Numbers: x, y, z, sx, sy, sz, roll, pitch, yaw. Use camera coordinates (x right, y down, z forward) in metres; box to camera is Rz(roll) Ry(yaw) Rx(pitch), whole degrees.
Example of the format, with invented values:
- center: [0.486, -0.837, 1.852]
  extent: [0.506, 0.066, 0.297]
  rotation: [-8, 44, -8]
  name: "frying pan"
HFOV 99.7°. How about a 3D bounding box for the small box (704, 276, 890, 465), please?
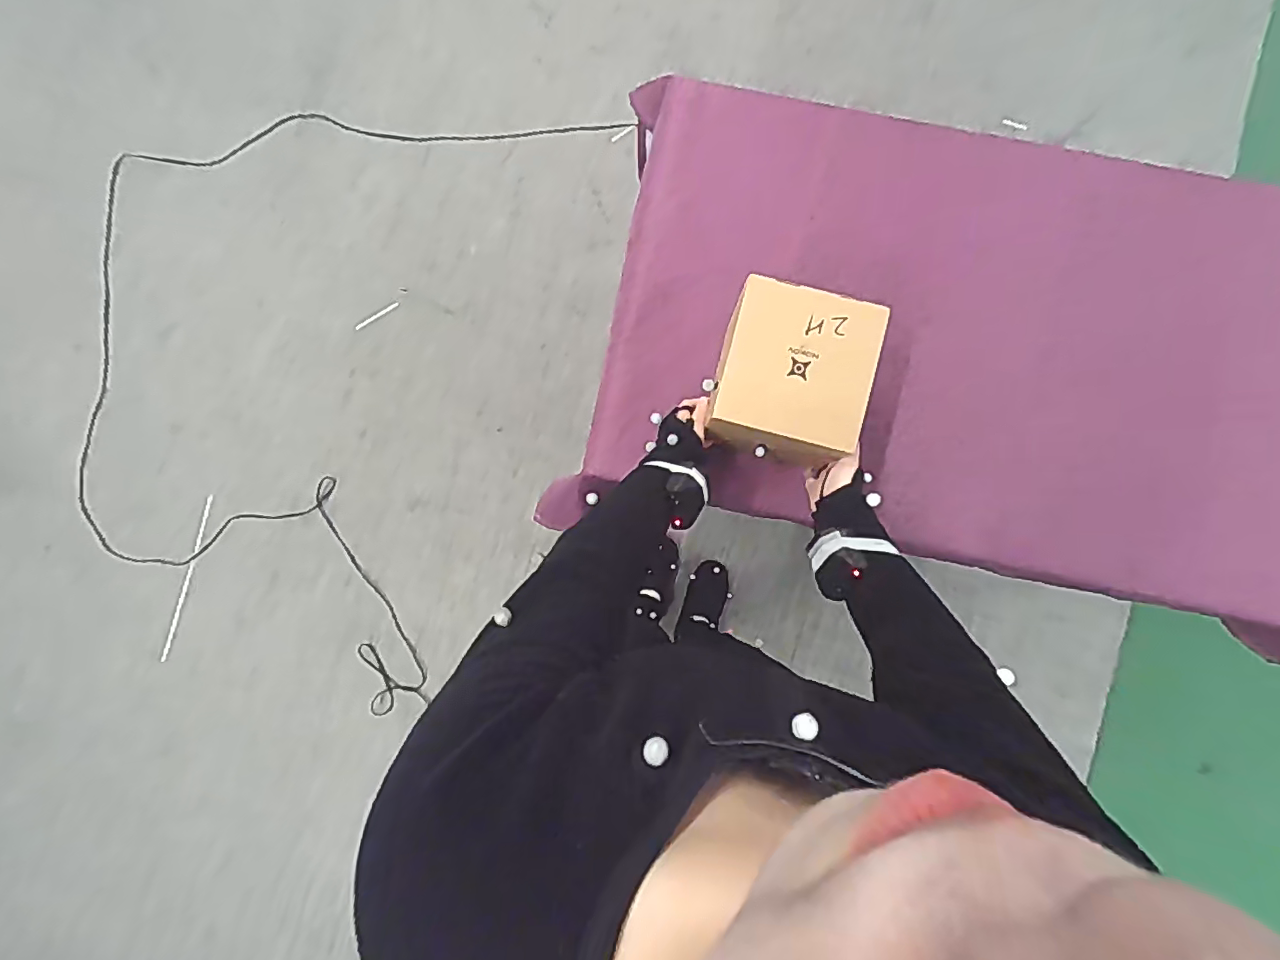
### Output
- center: [0.183, -0.124, 0.685]
  extent: [0.168, 0.176, 0.179]
  rotation: [15, 87, 2]
  name: "small box"
